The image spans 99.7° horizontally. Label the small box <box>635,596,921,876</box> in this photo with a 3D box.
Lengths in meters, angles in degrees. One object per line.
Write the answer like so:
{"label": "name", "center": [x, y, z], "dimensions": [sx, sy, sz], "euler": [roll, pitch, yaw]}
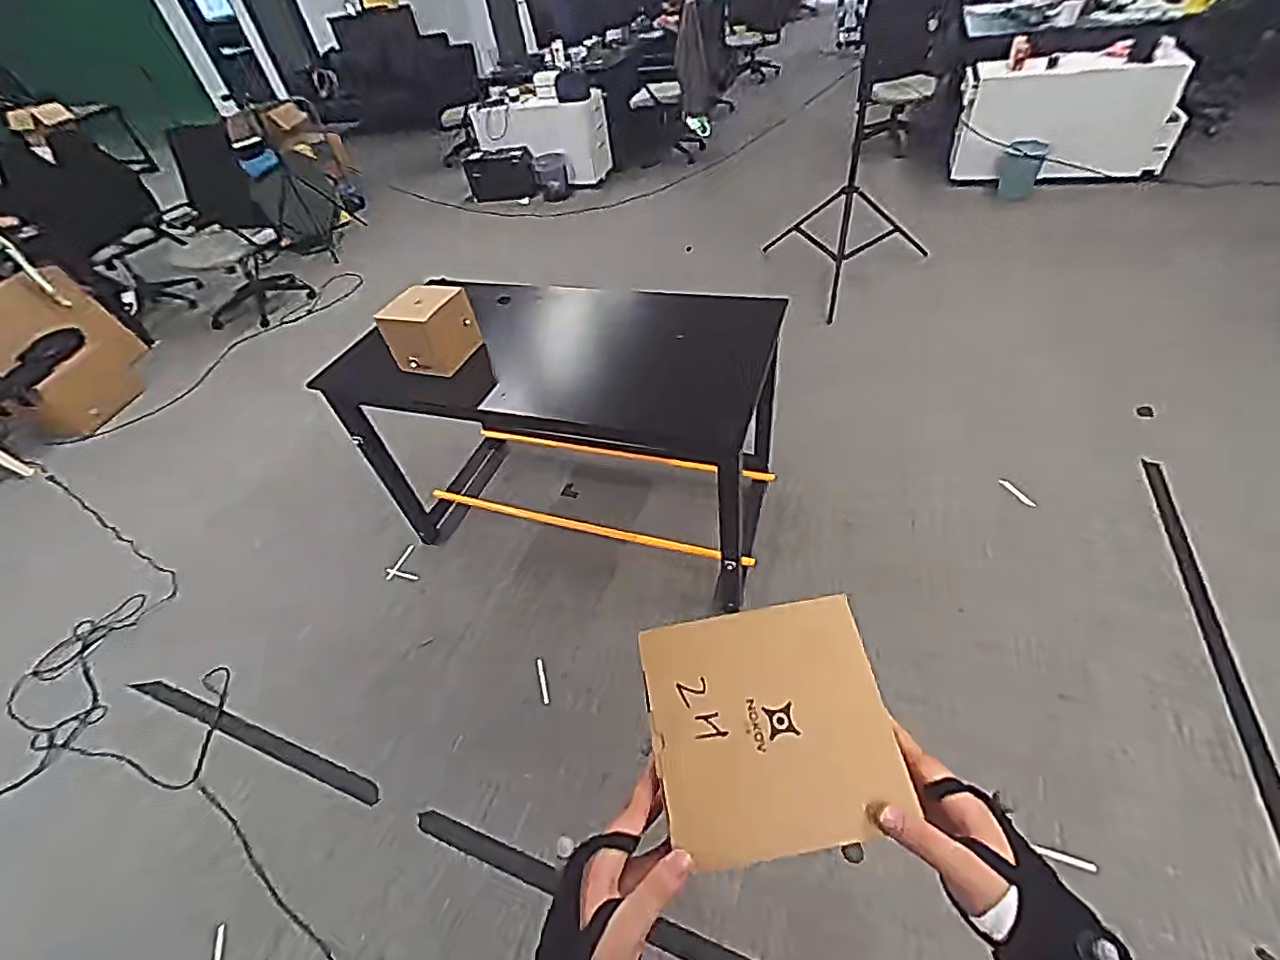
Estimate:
{"label": "small box", "center": [0.096, 0.212, 0.465], "dimensions": [0.179, 0.176, 0.168], "euler": [-10, 62, -1]}

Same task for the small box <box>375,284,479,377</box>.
{"label": "small box", "center": [-0.550, -0.398, 1.435], "dimensions": [0.168, 0.176, 0.179], "euler": [9, 49, 19]}
